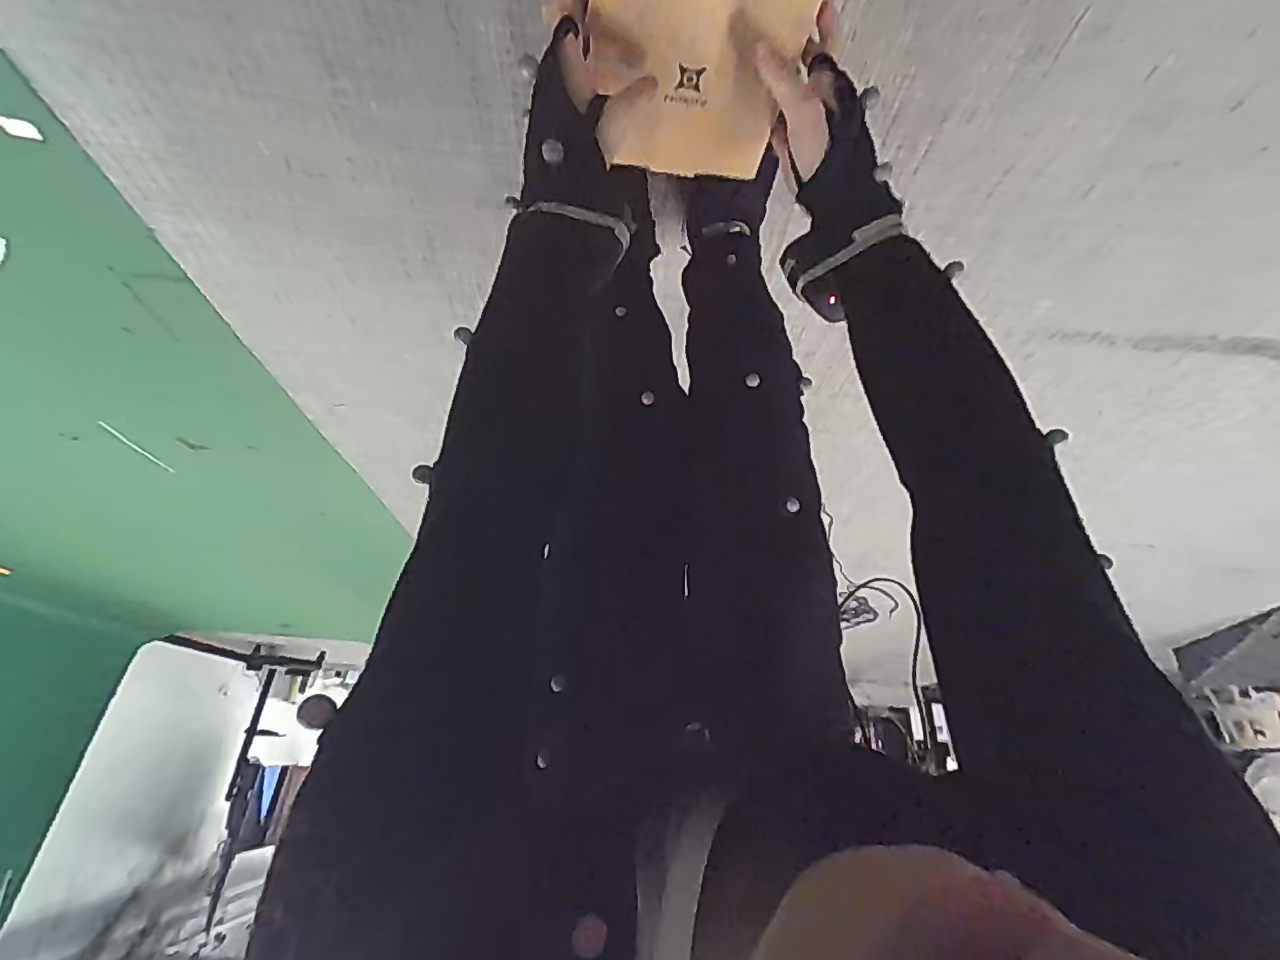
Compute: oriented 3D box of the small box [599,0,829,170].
[{"bbox_3d":[0.053,-0.417,0.474,0.168,0.176,0.179,4,166,-6],"label":"small box"}]
